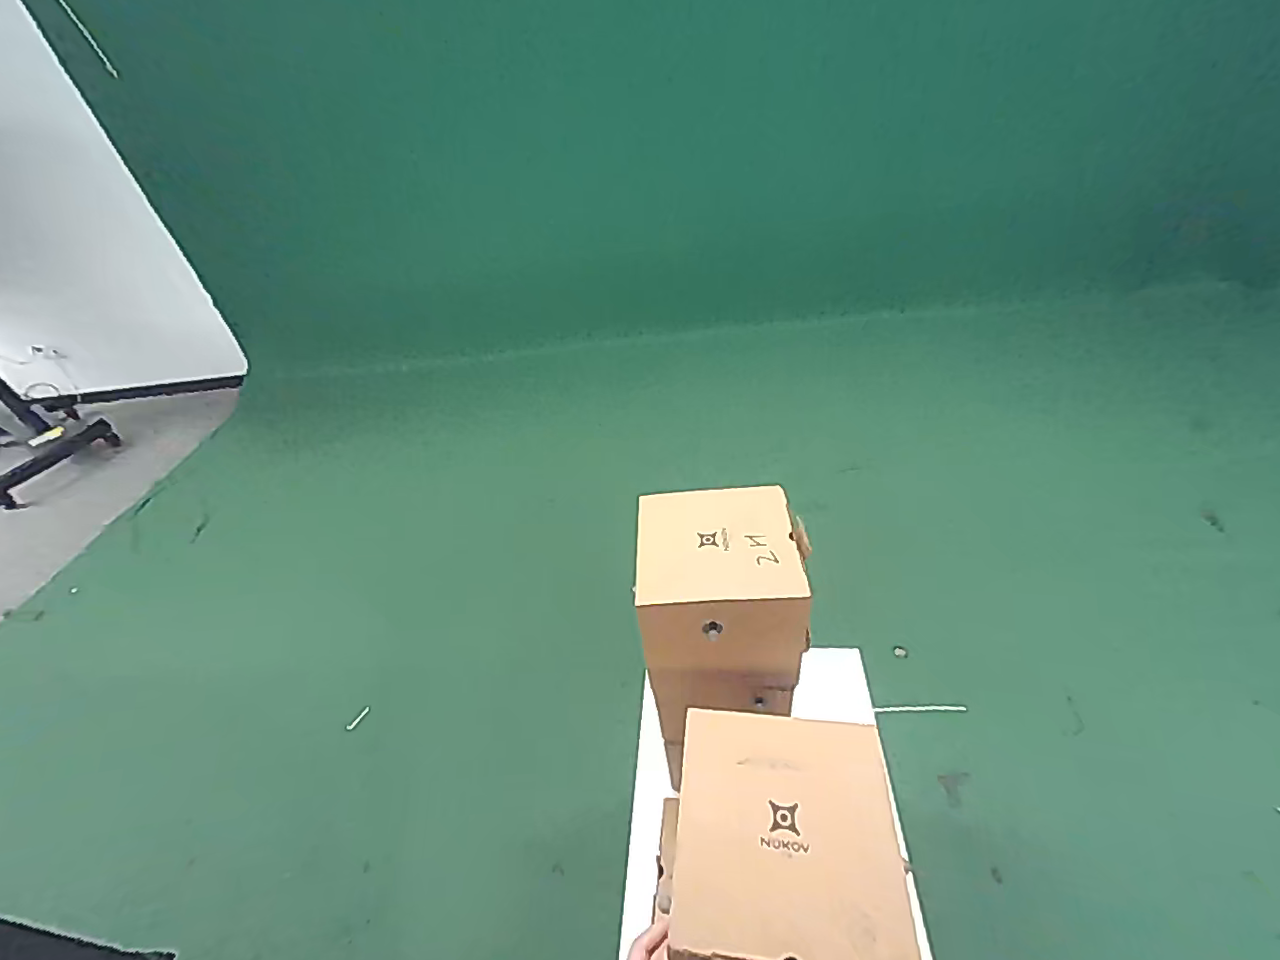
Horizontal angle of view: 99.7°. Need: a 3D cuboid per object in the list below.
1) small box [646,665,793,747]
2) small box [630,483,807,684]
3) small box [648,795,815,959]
[{"bbox_3d":[0.113,0.244,0.743,0.179,0.176,0.168,1,40,11],"label":"small box"},{"bbox_3d":[0.088,0.123,0.634,0.179,0.176,0.168,-4,41,5],"label":"small box"},{"bbox_3d":[0.114,0.518,0.667,0.179,0.176,0.168,1,40,10],"label":"small box"}]
